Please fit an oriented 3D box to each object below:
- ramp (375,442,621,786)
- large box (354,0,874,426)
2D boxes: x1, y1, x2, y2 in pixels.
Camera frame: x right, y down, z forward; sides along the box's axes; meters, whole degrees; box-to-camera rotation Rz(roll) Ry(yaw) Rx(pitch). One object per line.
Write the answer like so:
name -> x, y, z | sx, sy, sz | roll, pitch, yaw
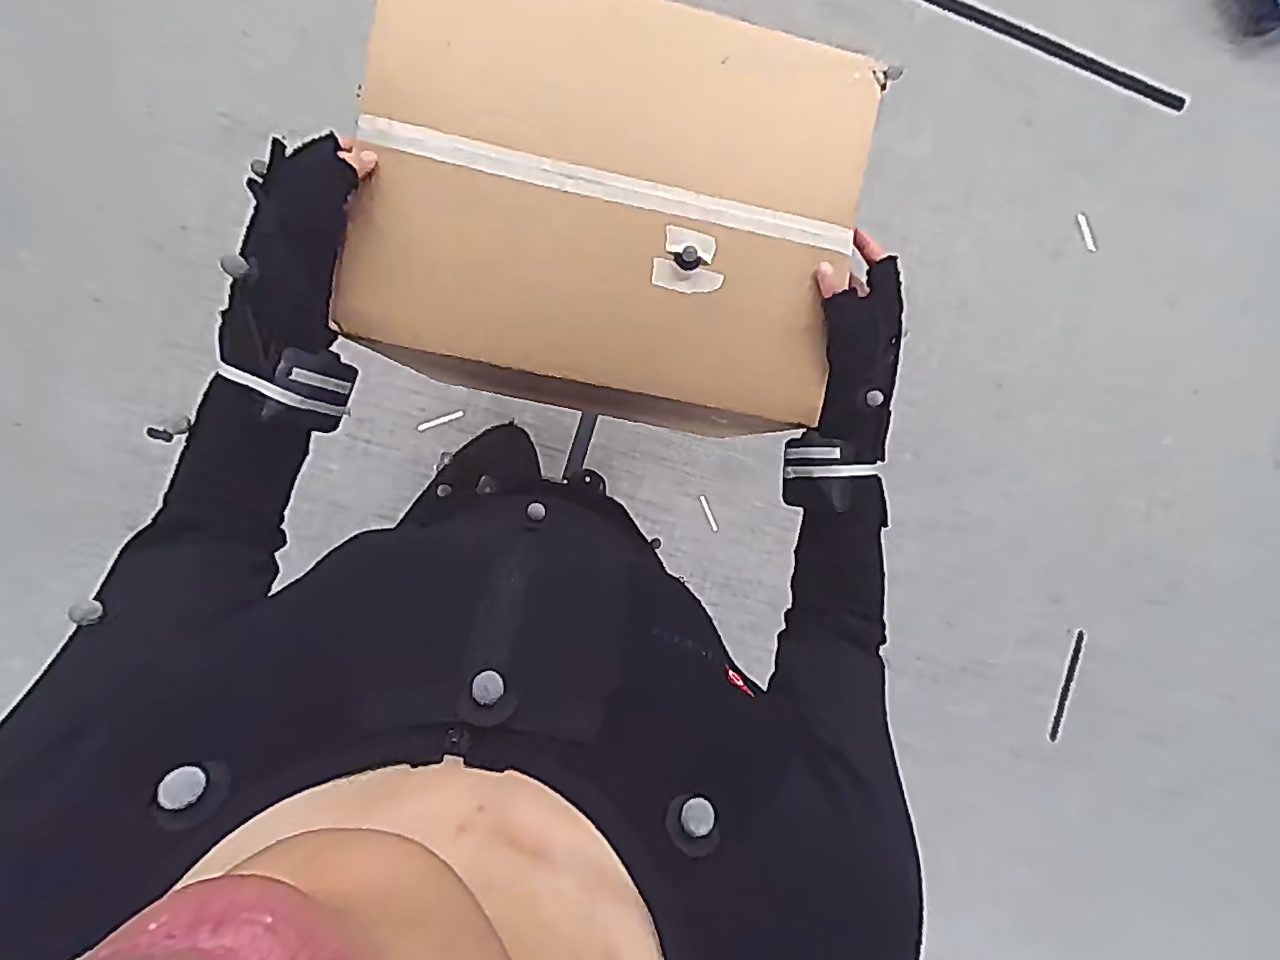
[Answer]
ramp -> -0.421, 0.425, 1.561 | 0.509, 0.206, 0.991 | 14, 91, -8
large box -> -0.031, -0.251, 0.599 | 0.408, 0.320, 0.320 | 10, 92, -7
